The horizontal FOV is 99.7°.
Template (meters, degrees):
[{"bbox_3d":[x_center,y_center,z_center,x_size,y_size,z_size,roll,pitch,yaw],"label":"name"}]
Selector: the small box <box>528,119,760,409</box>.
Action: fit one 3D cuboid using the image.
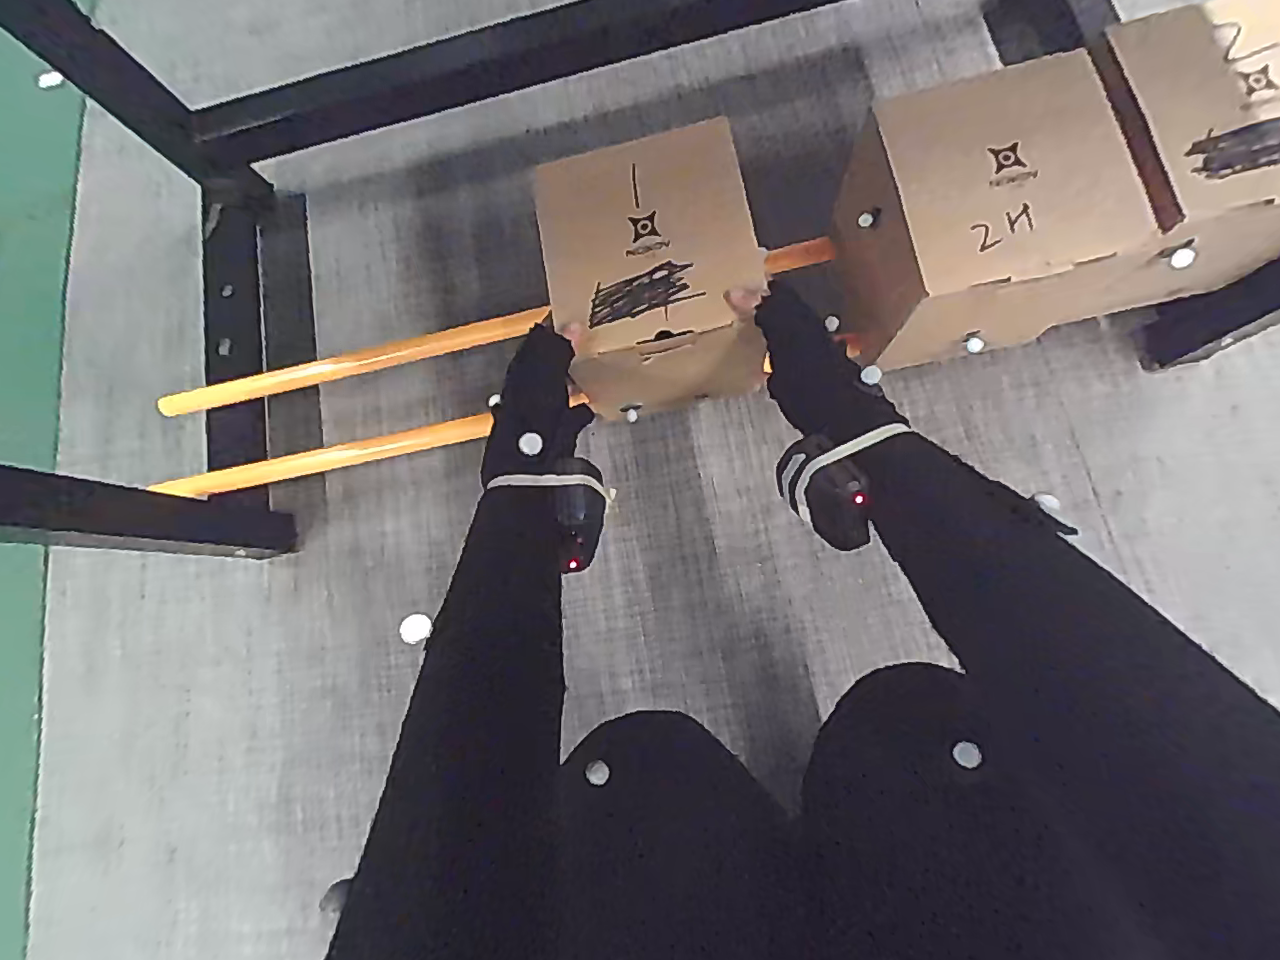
[{"bbox_3d":[0.011,-0.177,0.502,0.168,0.176,0.179,-11,77,7],"label":"small box"}]
